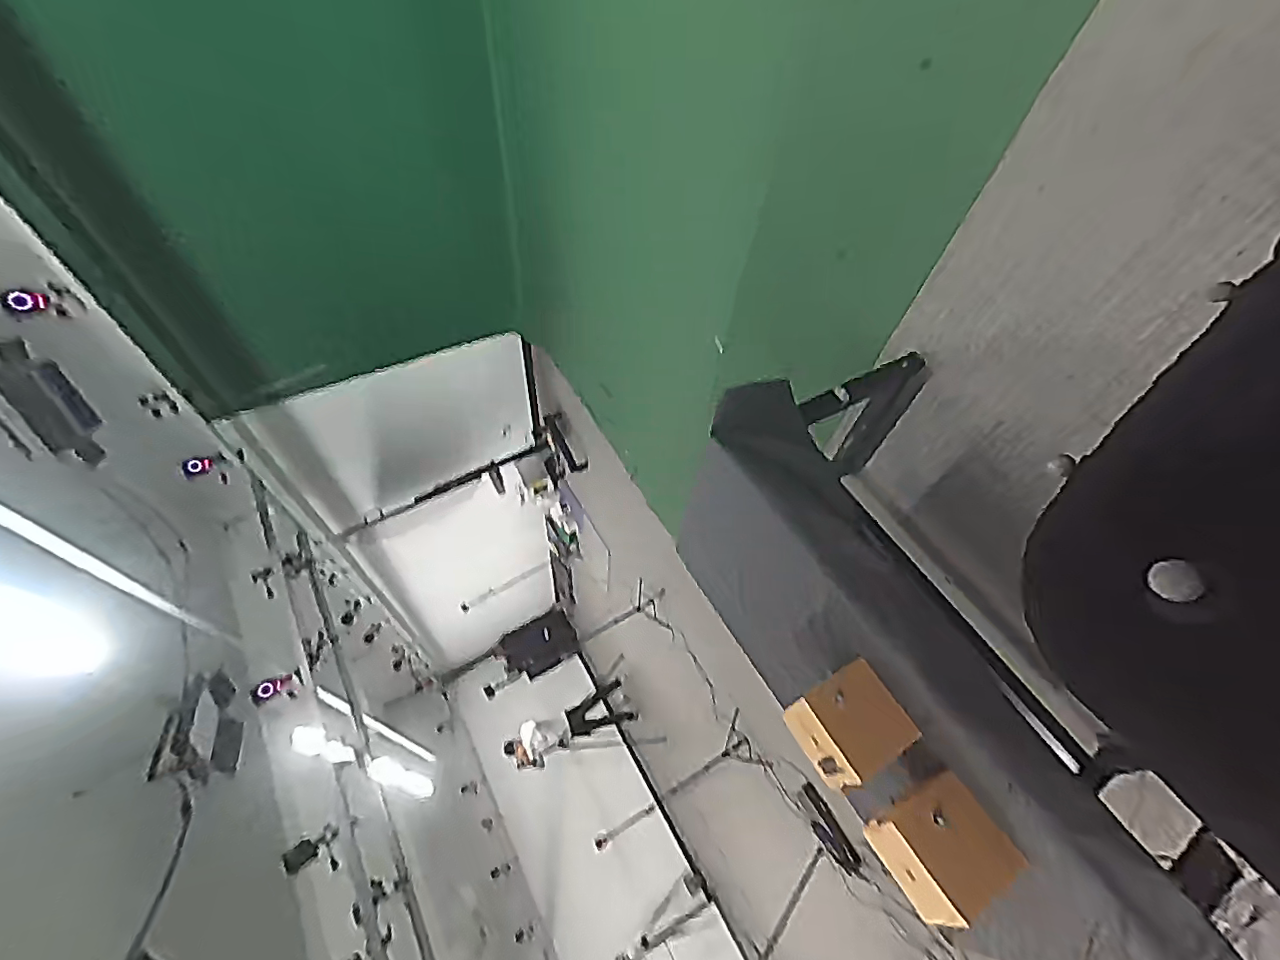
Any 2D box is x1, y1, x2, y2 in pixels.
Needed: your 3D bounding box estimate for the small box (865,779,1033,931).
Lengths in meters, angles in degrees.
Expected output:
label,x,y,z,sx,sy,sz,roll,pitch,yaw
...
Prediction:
label,x,y,z,sx,sy,sz,roll,pitch,yaw
small box,0.568,0.688,1.009,0.179,0.176,0.168,52,157,31
